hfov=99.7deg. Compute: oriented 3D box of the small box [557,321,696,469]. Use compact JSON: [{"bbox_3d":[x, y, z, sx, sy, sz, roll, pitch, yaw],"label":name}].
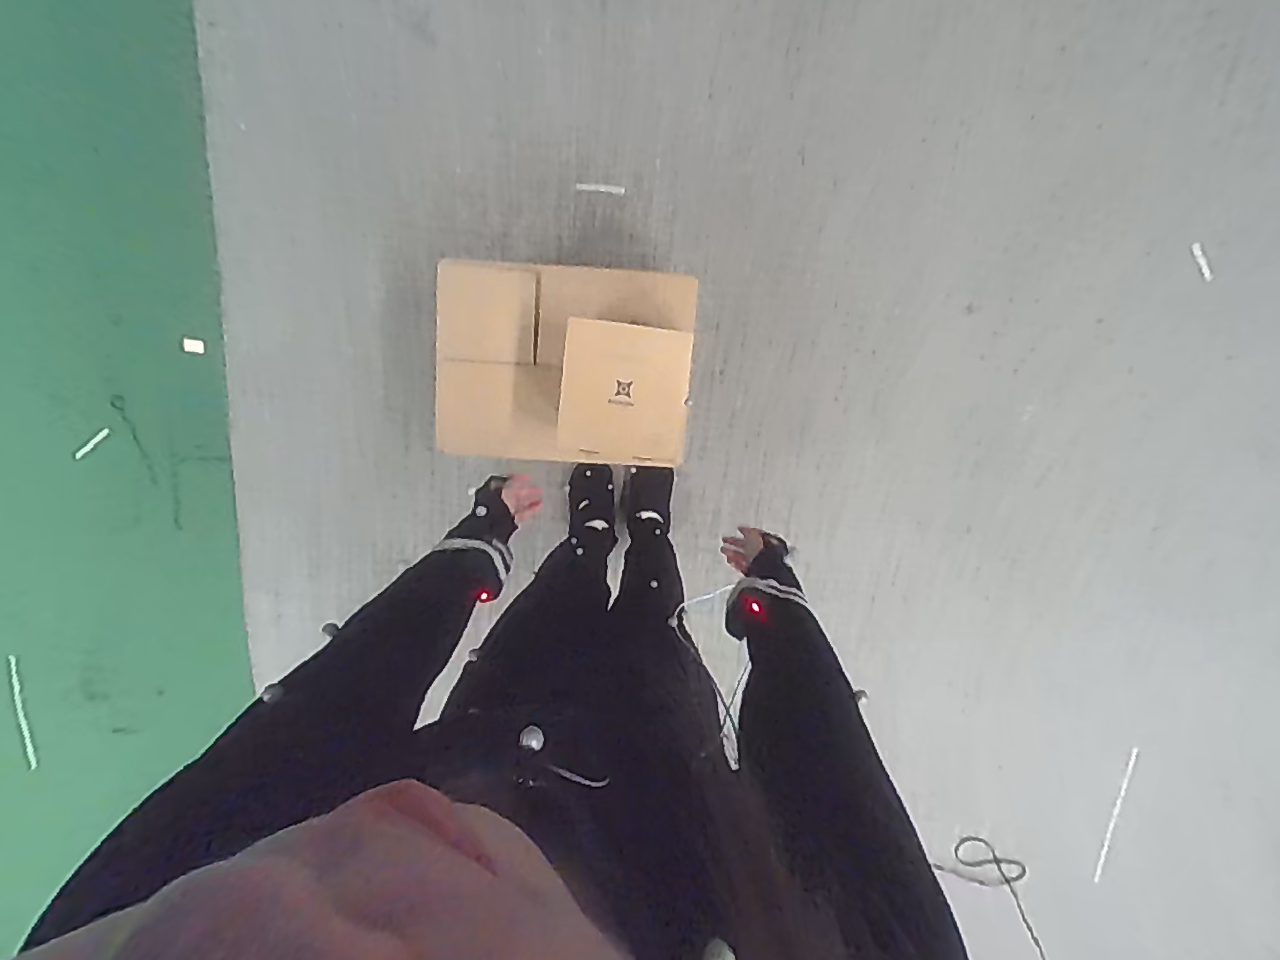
[{"bbox_3d":[-0.017,-0.125,0.787,0.168,0.176,0.179,8,101,-1],"label":"small box"}]
